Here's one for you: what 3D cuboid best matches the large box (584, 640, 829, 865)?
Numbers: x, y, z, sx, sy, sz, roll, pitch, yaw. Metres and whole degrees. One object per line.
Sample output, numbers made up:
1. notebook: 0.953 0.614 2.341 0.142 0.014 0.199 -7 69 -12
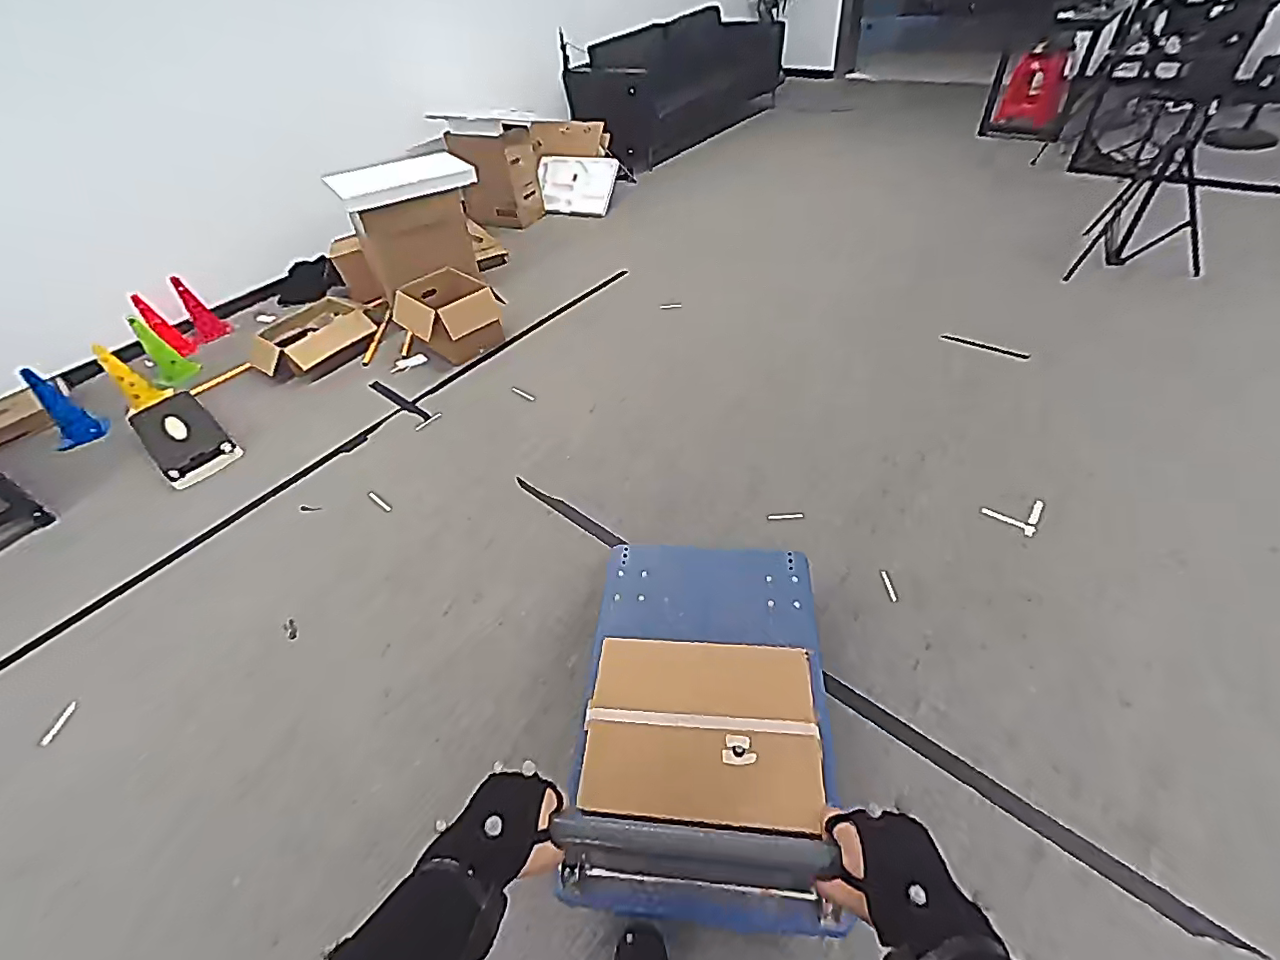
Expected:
1. large box: 0.124 0.542 1.081 0.408 0.320 0.320 1 46 7
